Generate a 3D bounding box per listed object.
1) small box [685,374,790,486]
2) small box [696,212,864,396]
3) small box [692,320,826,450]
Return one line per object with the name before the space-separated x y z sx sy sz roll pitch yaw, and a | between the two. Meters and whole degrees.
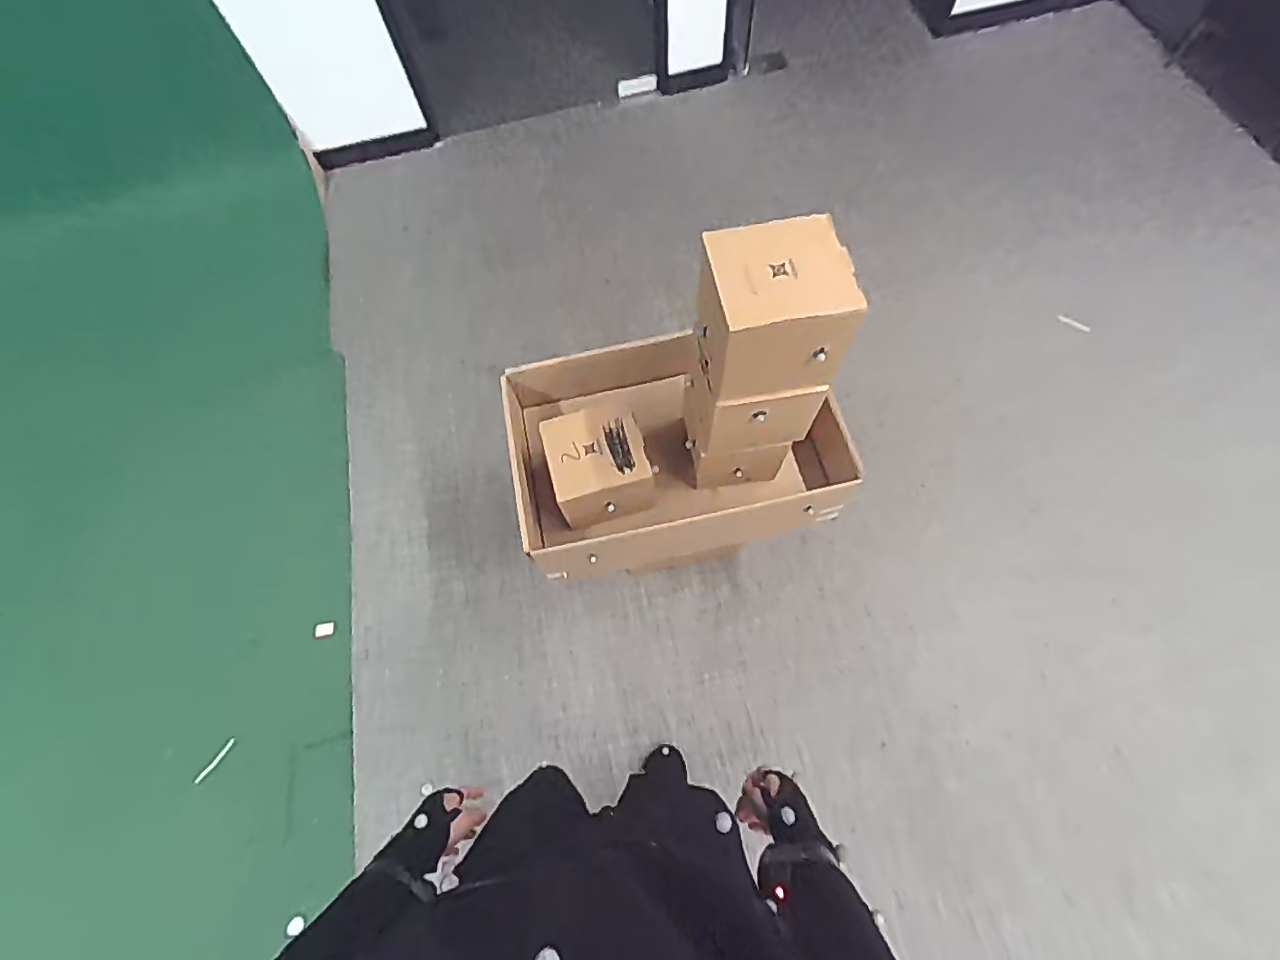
small box | 0.181 -0.098 1.055 0.168 0.176 0.179 -8 66 0
small box | 0.181 -0.238 0.758 0.179 0.176 0.168 -10 66 0
small box | 0.186 -0.164 0.904 0.179 0.176 0.168 -9 67 -1
